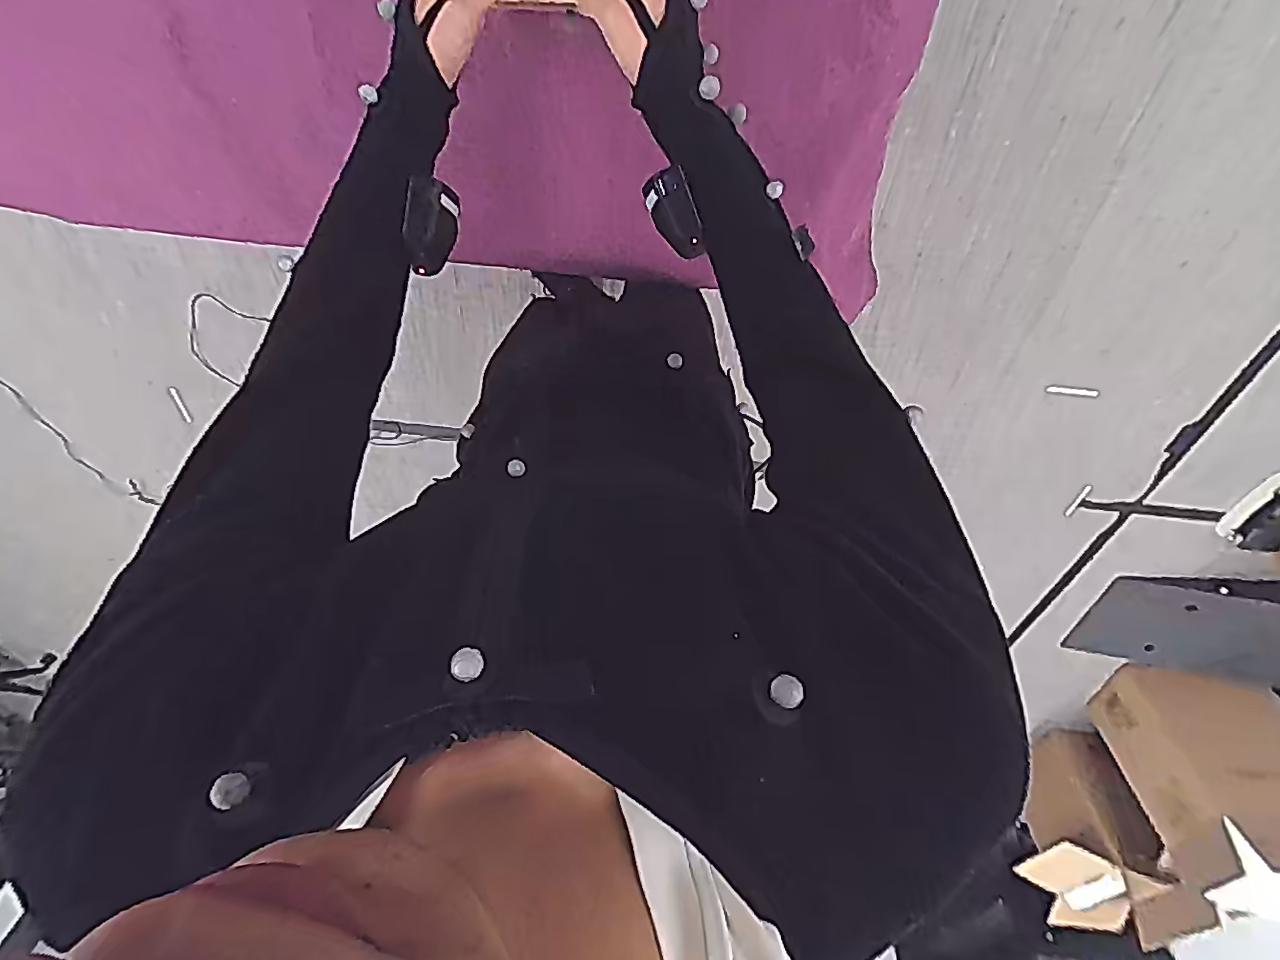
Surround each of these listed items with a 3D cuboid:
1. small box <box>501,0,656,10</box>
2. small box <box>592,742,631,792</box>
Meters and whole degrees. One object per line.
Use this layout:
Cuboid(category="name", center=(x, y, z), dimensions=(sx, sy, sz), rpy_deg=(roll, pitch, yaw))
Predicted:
Cuboid(category="small box", center=(-0.067, -0.501, 0.444), dimensions=(0.179, 0.176, 0.168), rpy_deg=(3, 129, 1))
Cuboid(category="small box", center=(-0.136, 1.386, 2.610), dimensions=(0.179, 0.176, 0.168), rpy_deg=(2, 132, 2))
